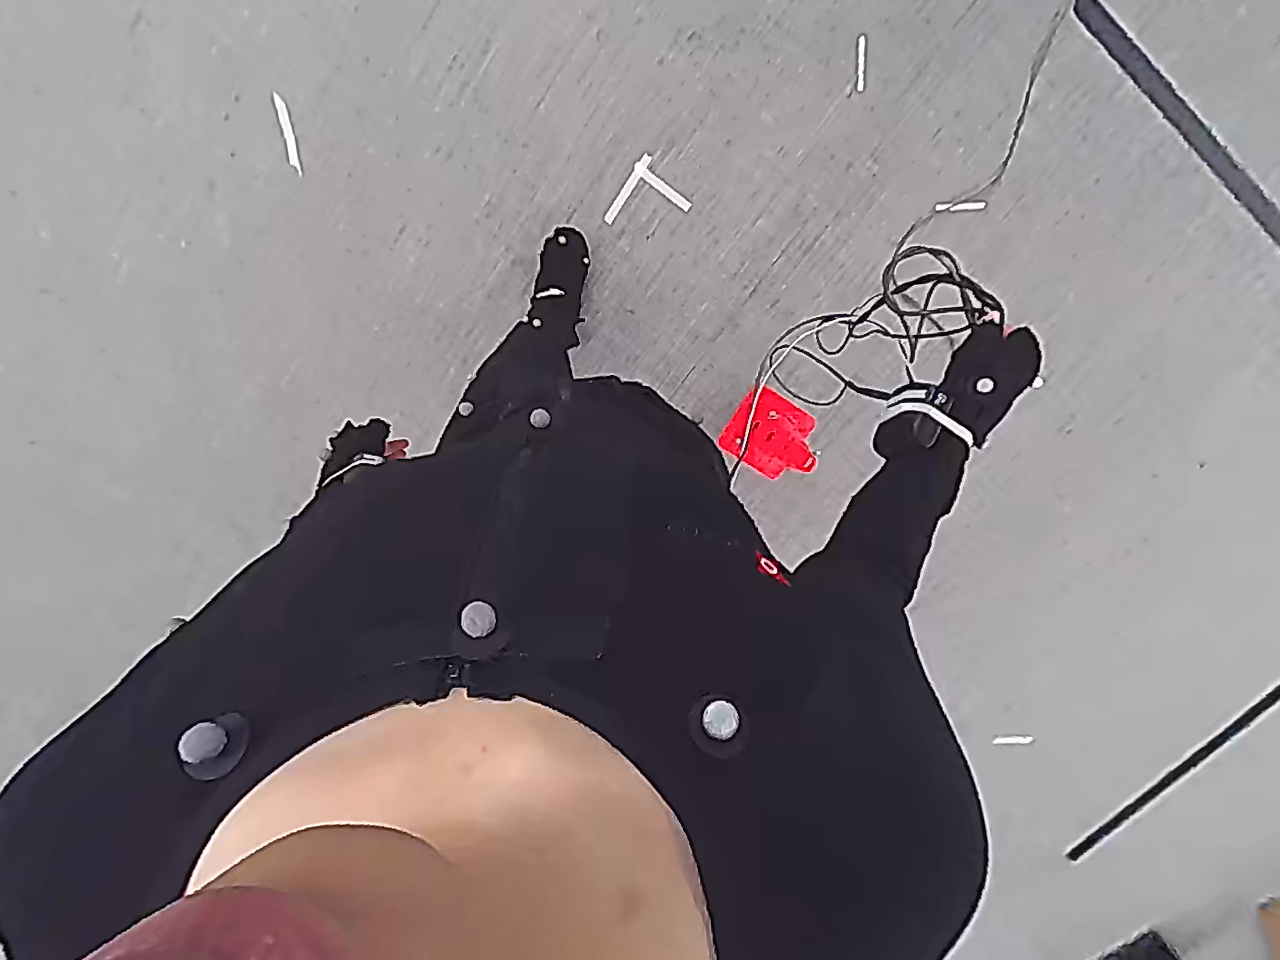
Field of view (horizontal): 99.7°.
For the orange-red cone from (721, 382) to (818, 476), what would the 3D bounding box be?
[{"bbox_3d":[0.341,-0.083,1.254,0.199,0.360,0.198,32,104,-10],"label":"orange-red cone"}]
